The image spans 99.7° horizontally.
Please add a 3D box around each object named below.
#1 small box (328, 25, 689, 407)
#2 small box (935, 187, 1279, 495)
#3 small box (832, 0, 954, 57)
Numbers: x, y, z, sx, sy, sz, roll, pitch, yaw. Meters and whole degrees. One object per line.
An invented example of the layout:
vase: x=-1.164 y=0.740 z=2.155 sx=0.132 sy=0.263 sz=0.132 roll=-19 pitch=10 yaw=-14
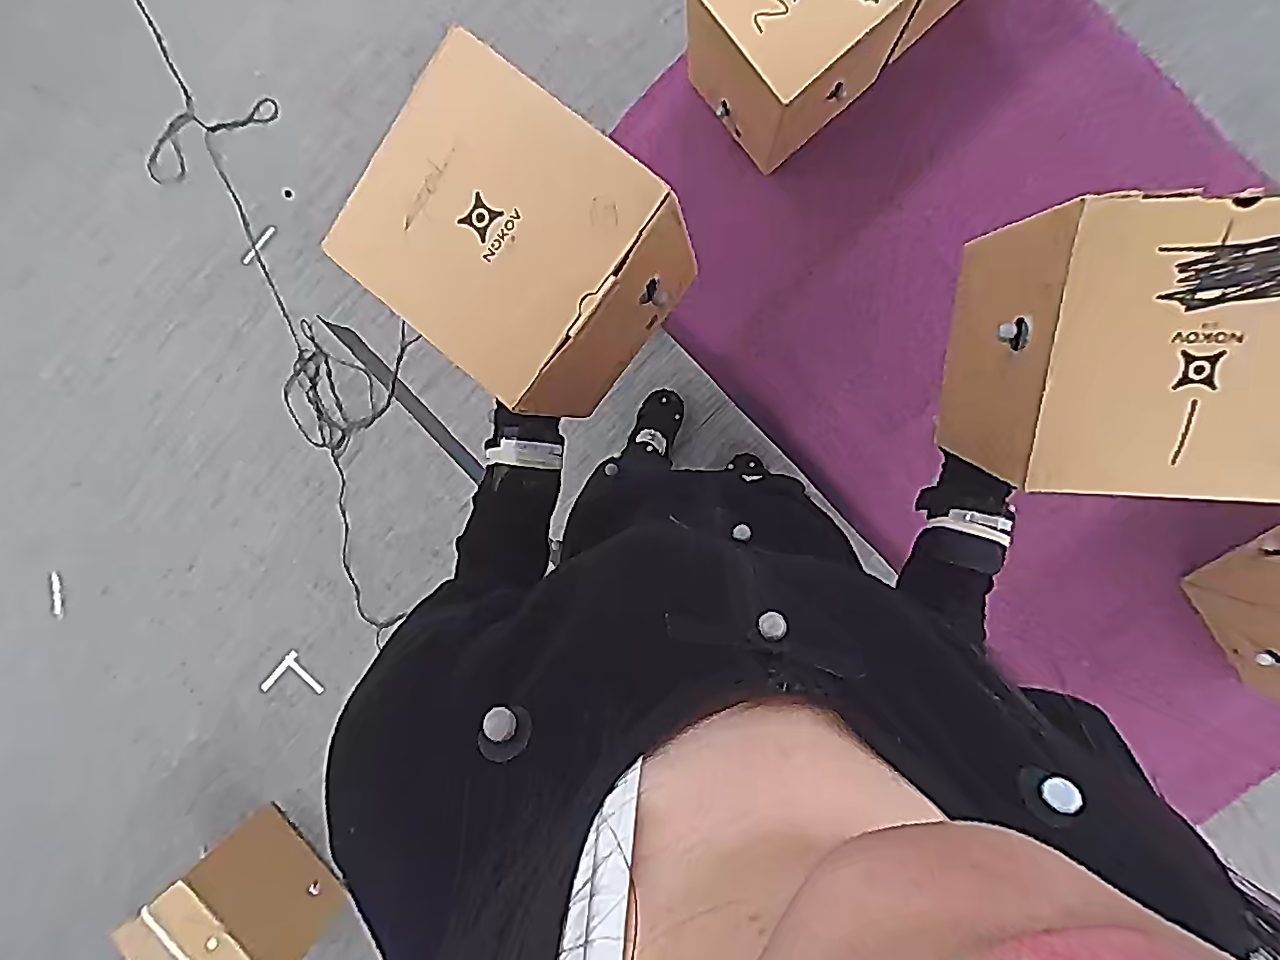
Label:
small box: x=-0.079 y=-0.172 z=0.416 sx=0.179 sy=0.176 sz=0.168 roll=39 pitch=100 yaw=5
small box: x=0.341 y=-0.099 z=0.398 sx=0.168 sy=0.176 sz=0.179 roll=3 pitch=106 yaw=9
small box: x=0.312 y=-0.633 z=0.588 sx=0.179 sy=0.176 sz=0.168 roll=-40 pitch=91 yaw=9
